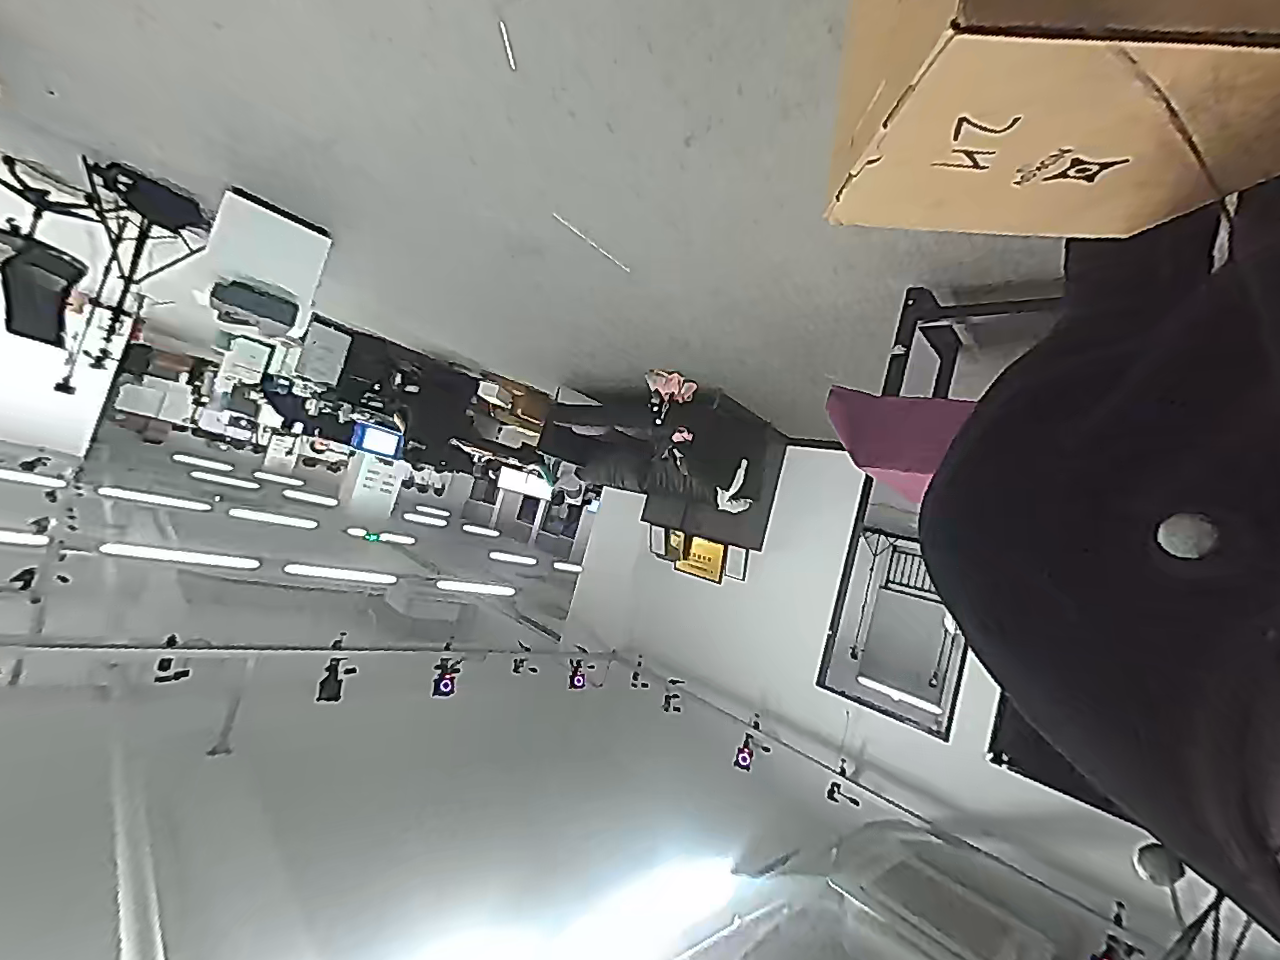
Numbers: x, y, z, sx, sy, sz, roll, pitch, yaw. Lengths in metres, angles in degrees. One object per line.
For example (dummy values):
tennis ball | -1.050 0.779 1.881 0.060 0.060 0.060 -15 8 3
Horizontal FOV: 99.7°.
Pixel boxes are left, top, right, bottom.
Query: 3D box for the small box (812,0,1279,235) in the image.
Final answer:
small box | 0.189 -0.221 0.224 0.179 0.176 0.168 6 -174 3
